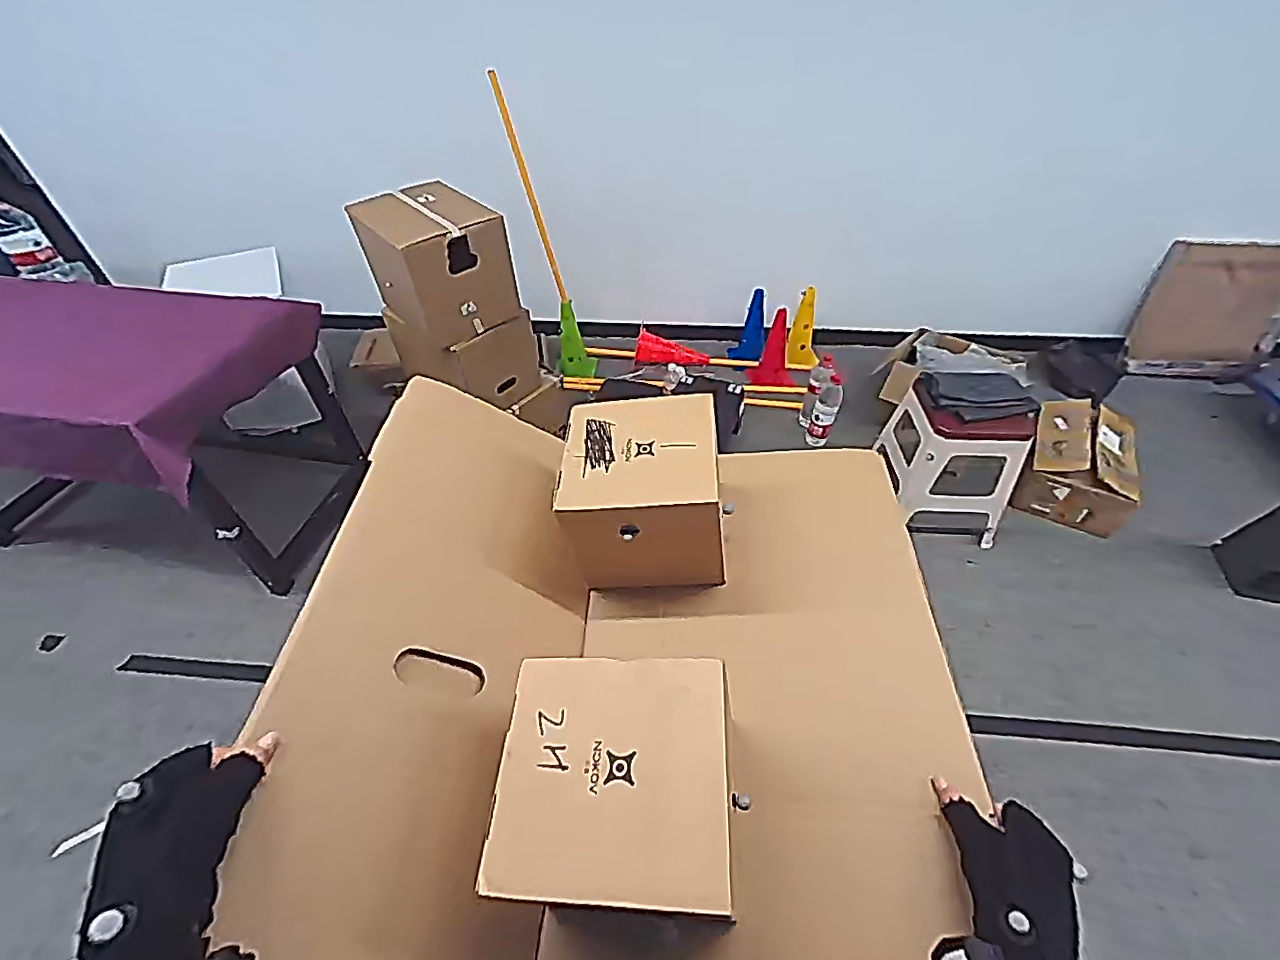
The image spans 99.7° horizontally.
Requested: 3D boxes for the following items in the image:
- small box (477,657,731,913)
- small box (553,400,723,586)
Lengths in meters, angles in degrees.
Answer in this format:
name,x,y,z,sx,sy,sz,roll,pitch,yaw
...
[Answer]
name,x,y,z,sx,sy,sz,roll,pitch,yaw
small box,-0.010,0.268,0.474,0.179,0.176,0.168,-3,50,11
small box,0.009,0.023,0.676,0.179,0.176,0.168,-3,50,9
